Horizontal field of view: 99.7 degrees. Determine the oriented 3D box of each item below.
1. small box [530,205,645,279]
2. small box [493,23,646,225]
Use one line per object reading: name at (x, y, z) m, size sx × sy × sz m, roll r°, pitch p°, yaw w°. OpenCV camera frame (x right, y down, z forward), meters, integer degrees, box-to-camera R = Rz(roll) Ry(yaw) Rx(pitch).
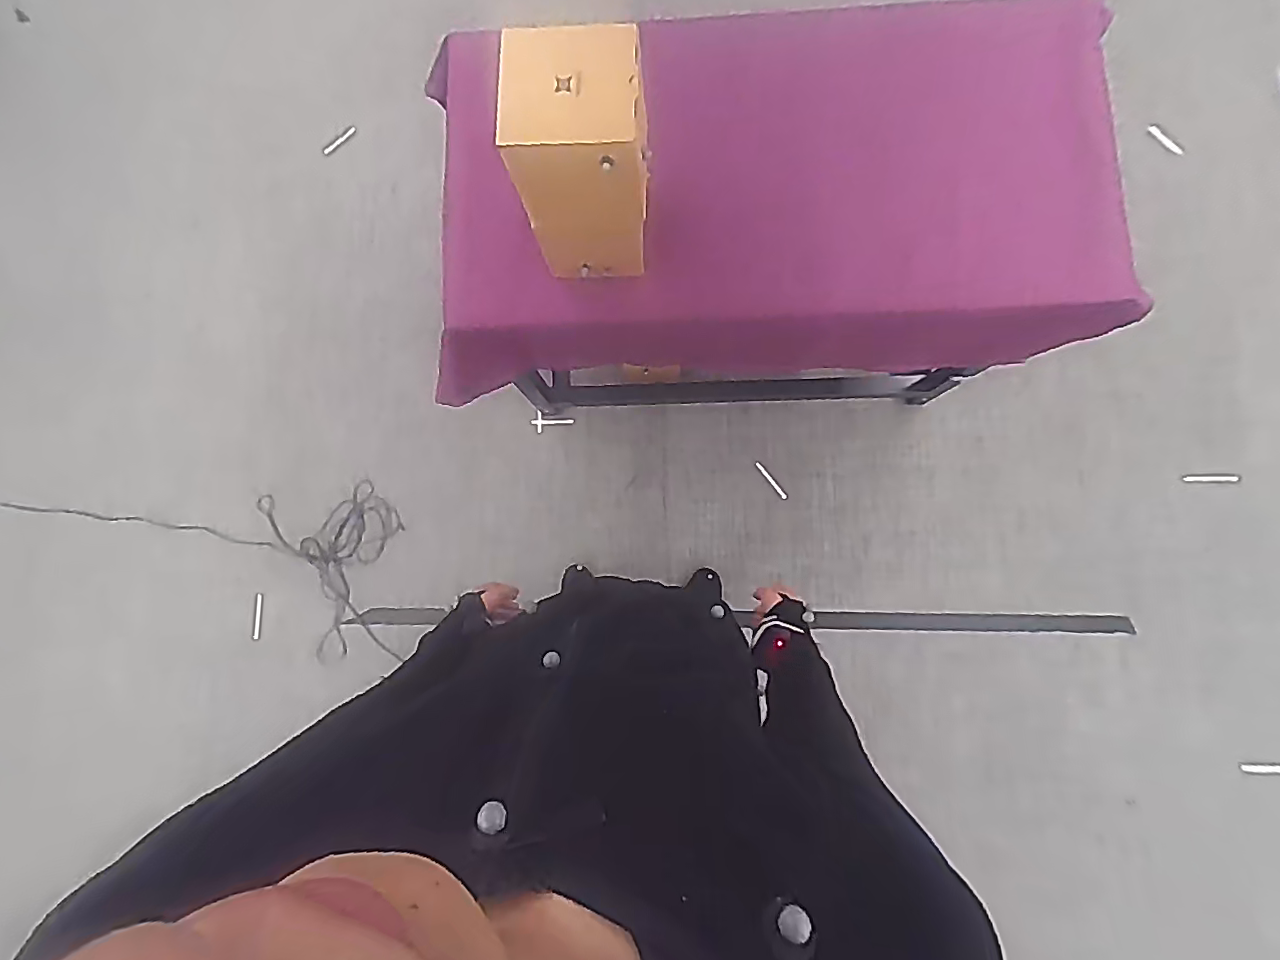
small box at (-0.079, -0.457, 0.902) m, size 0.168 × 0.176 × 0.179 m, roll 0°, pitch 84°, yaw 4°
small box at (-0.086, -0.472, 0.741) m, size 0.179 × 0.176 × 0.168 m, roll 0°, pitch 83°, yaw 4°
